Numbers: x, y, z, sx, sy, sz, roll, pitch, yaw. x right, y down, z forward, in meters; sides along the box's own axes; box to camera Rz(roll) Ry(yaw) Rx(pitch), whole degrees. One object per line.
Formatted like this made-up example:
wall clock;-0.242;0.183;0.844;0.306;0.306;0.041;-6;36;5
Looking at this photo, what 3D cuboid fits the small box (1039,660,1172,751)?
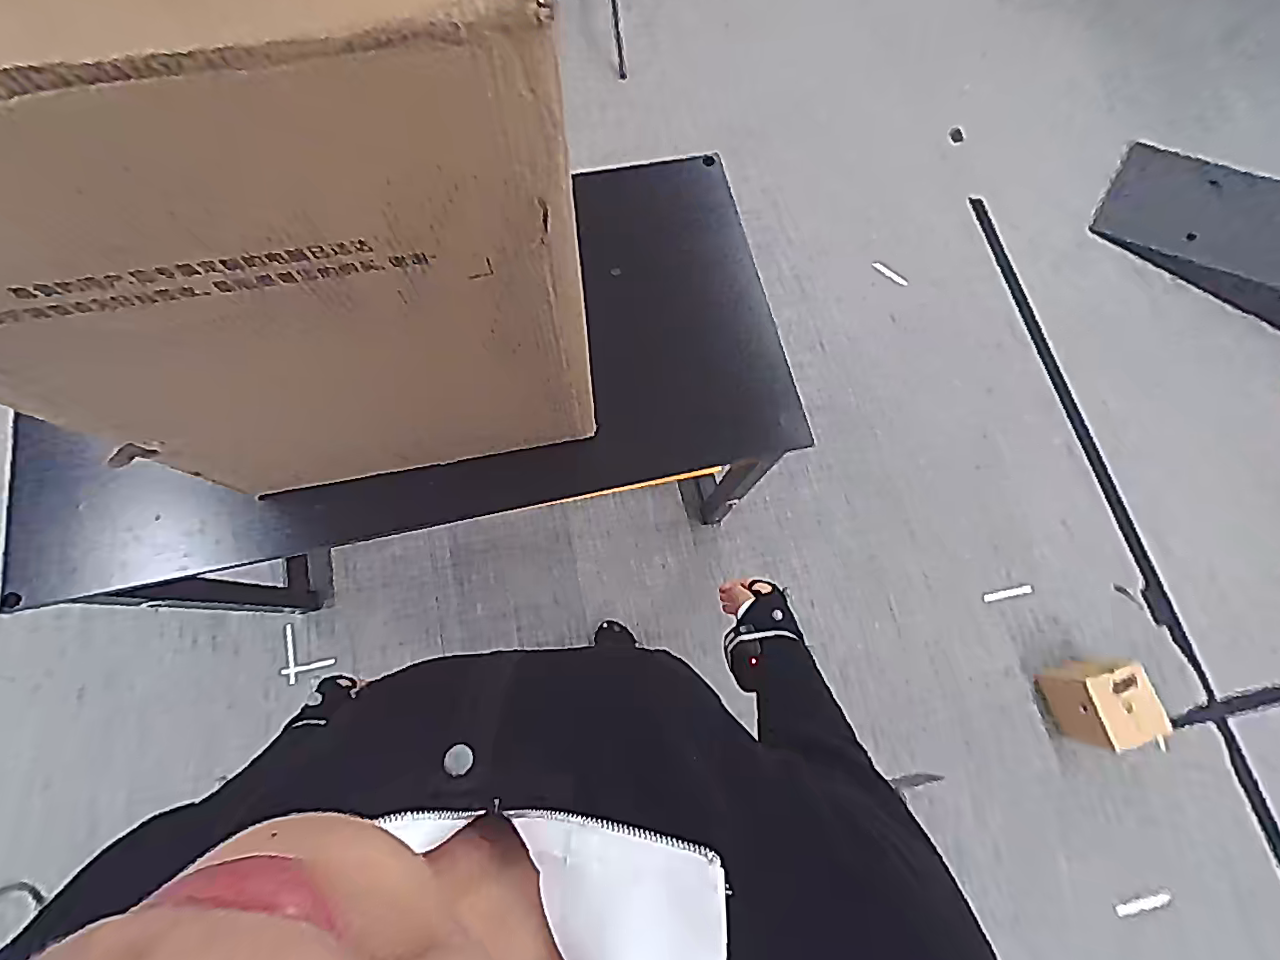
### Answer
small box;1.203;0.579;1.415;0.168;0.176;0.179;-15;77;-7
